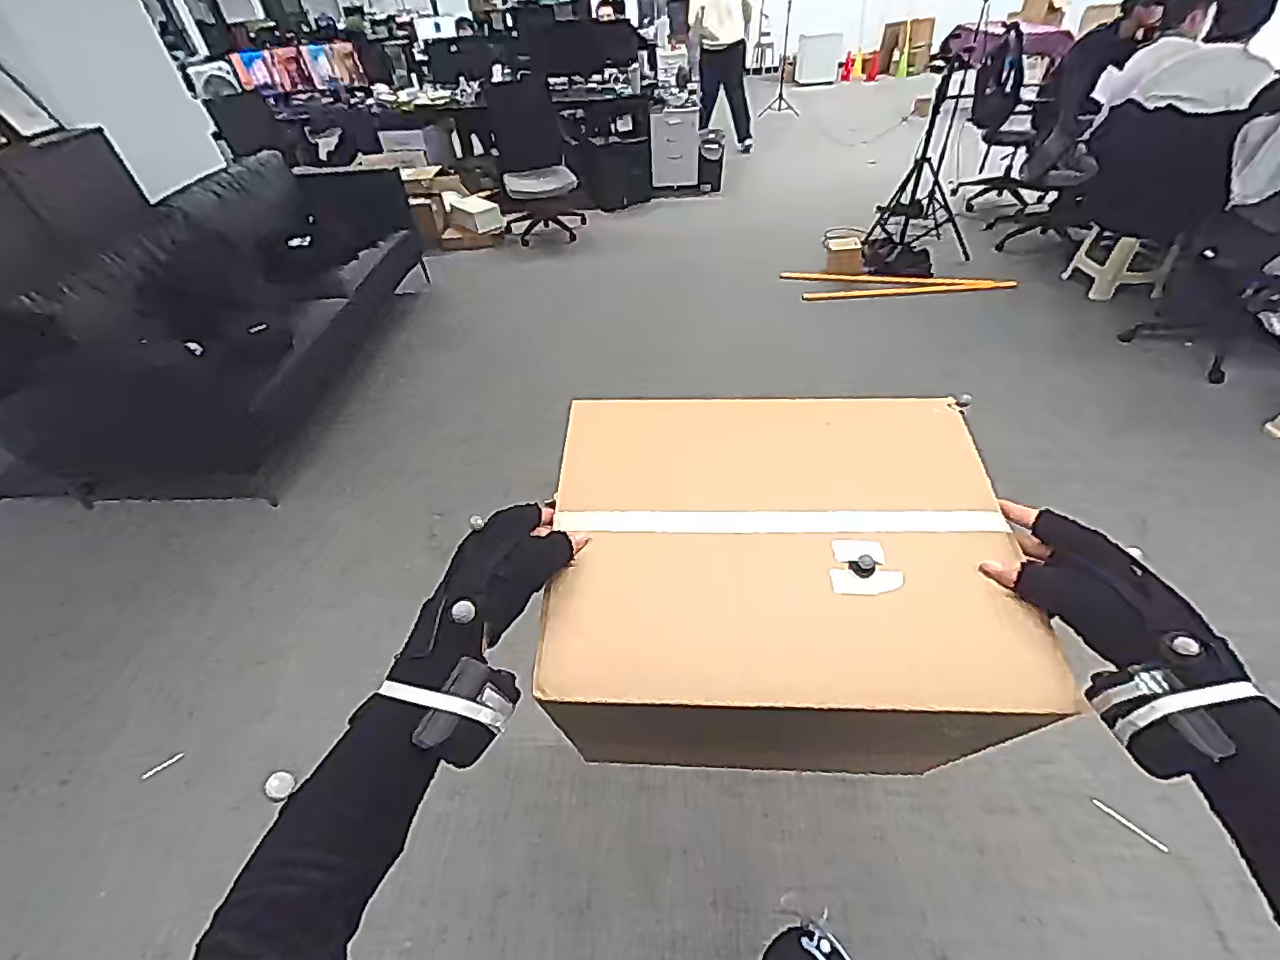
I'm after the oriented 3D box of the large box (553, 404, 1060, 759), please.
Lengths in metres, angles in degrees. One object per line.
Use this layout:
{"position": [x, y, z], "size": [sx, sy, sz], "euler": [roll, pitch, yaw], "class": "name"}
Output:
{"position": [0.132, 0.129, 0.627], "size": [0.408, 0.320, 0.320], "euler": [0, 55, 2], "class": "large box"}
